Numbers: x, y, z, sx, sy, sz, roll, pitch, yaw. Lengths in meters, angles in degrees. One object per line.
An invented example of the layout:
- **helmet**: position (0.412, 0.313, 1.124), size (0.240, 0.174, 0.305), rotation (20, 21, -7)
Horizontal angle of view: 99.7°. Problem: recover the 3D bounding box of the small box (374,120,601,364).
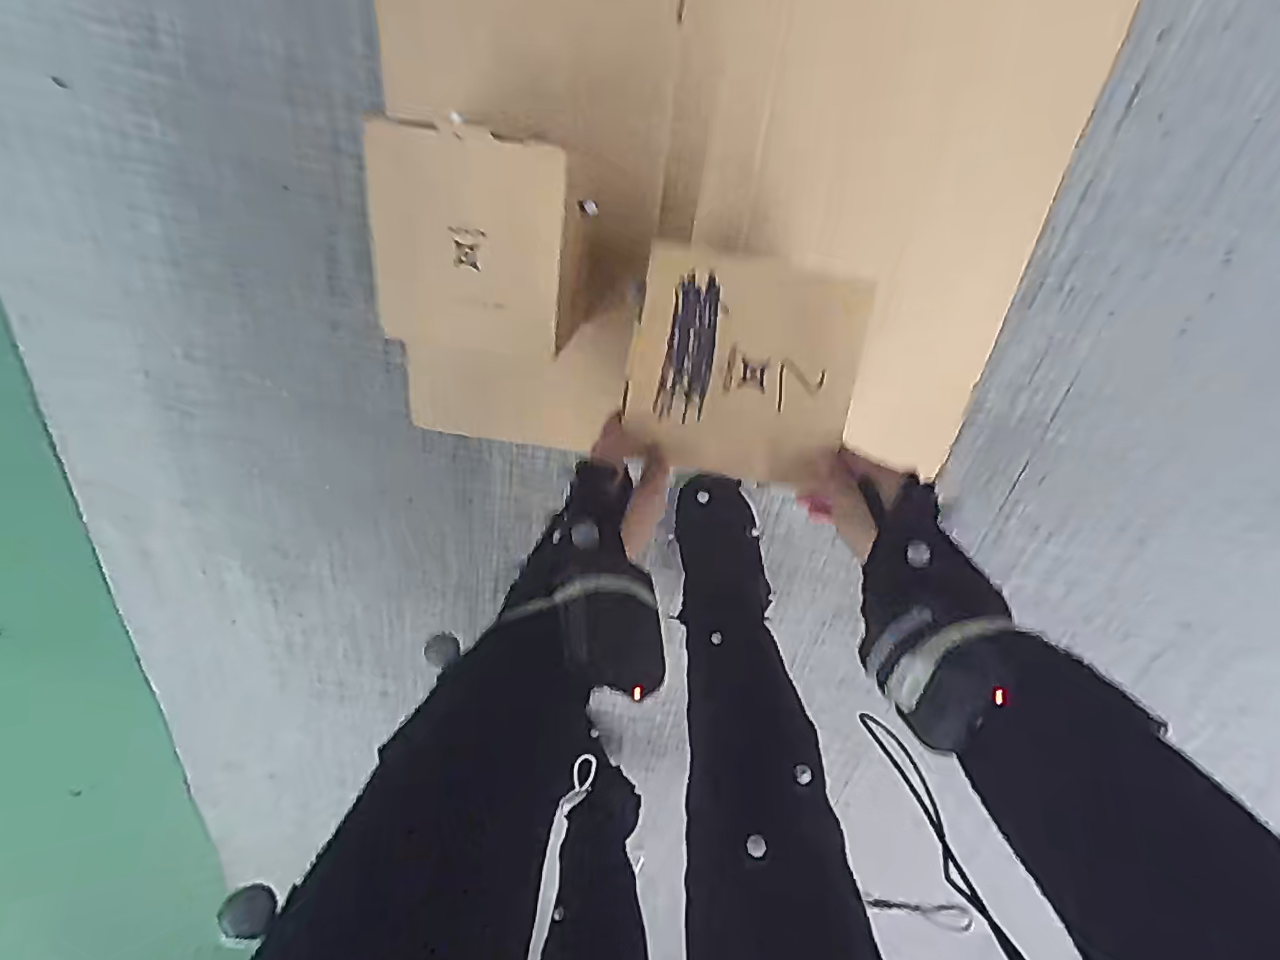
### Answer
- **small box**: position (-0.136, -0.233, 0.536), size (0.168, 0.176, 0.179), rotation (9, 119, 1)
